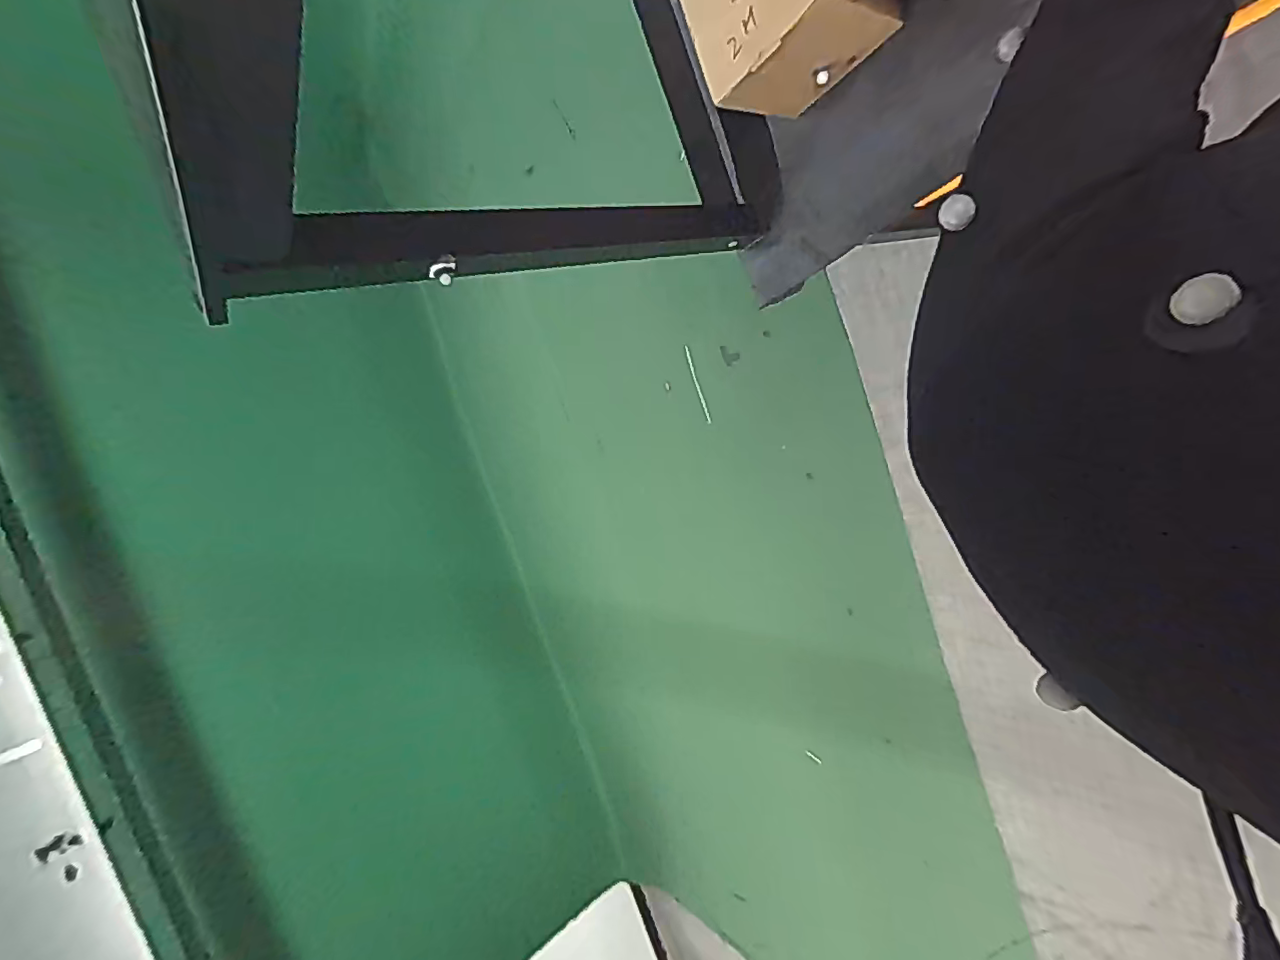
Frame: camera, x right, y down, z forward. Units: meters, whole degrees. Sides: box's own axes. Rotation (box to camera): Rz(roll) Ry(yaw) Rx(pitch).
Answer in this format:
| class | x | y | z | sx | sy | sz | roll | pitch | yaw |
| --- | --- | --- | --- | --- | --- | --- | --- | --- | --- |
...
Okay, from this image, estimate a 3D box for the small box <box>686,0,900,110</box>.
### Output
| class | x | y | z | sx | sy | sz | roll | pitch | yaw |
| --- | --- | --- | --- | --- | --- | --- | --- | --- | --- |
| small box | 0.178 | -0.586 | 0.649 | 0.168 | 0.176 | 0.179 | -14 | 96 | 54 |
